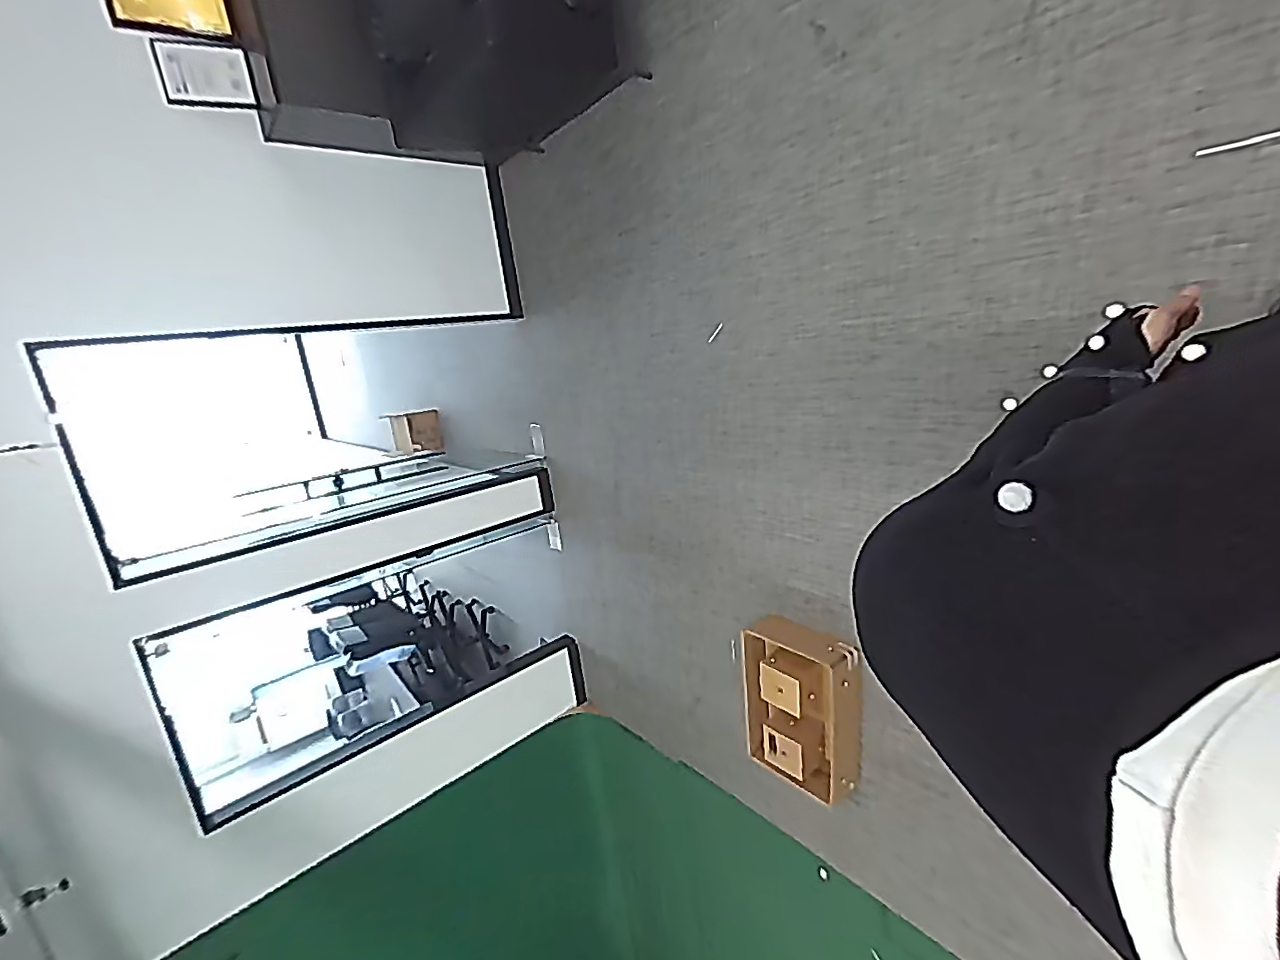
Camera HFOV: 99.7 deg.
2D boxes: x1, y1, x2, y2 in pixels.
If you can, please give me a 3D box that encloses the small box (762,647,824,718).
[{"bbox_3d":[0.591,0.770,2.078,0.179,0.176,0.168,13,114,49],"label":"small box"}]
